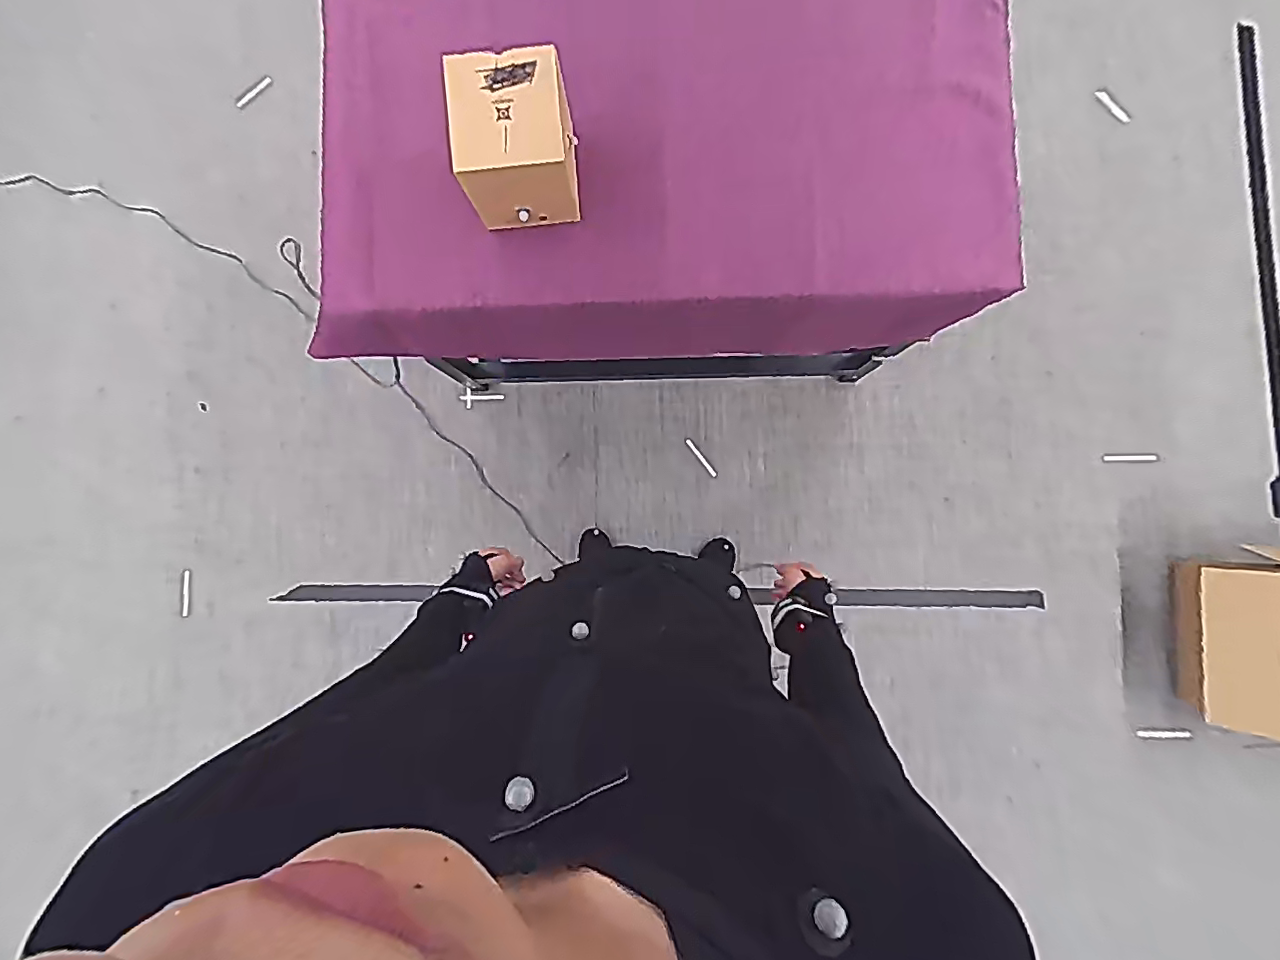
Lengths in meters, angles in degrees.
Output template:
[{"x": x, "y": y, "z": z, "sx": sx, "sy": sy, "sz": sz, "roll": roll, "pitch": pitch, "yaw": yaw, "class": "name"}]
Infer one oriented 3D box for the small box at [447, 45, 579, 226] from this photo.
[{"x": -0.193, "y": -0.536, "z": 0.862, "sx": 0.168, "sy": 0.176, "sz": 0.179, "roll": -5, "pitch": 88, "yaw": 1, "class": "small box"}]
